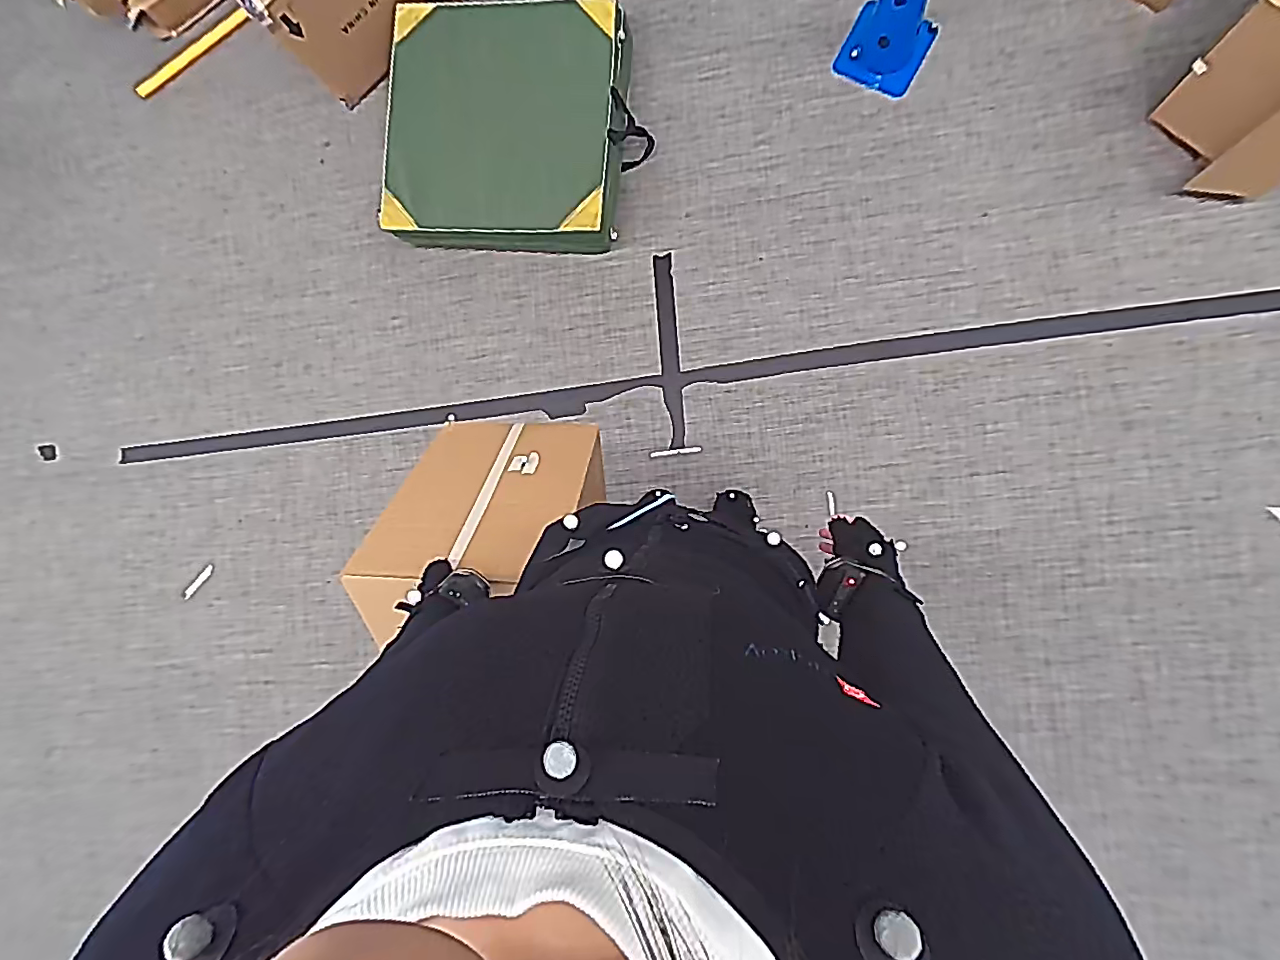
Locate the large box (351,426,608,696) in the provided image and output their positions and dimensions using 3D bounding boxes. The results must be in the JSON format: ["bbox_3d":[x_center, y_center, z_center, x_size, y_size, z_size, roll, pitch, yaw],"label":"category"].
[{"bbox_3d":[-0.248,0.138,1.012,0.320,0.408,0.320,3,128,6],"label":"large box"}]
